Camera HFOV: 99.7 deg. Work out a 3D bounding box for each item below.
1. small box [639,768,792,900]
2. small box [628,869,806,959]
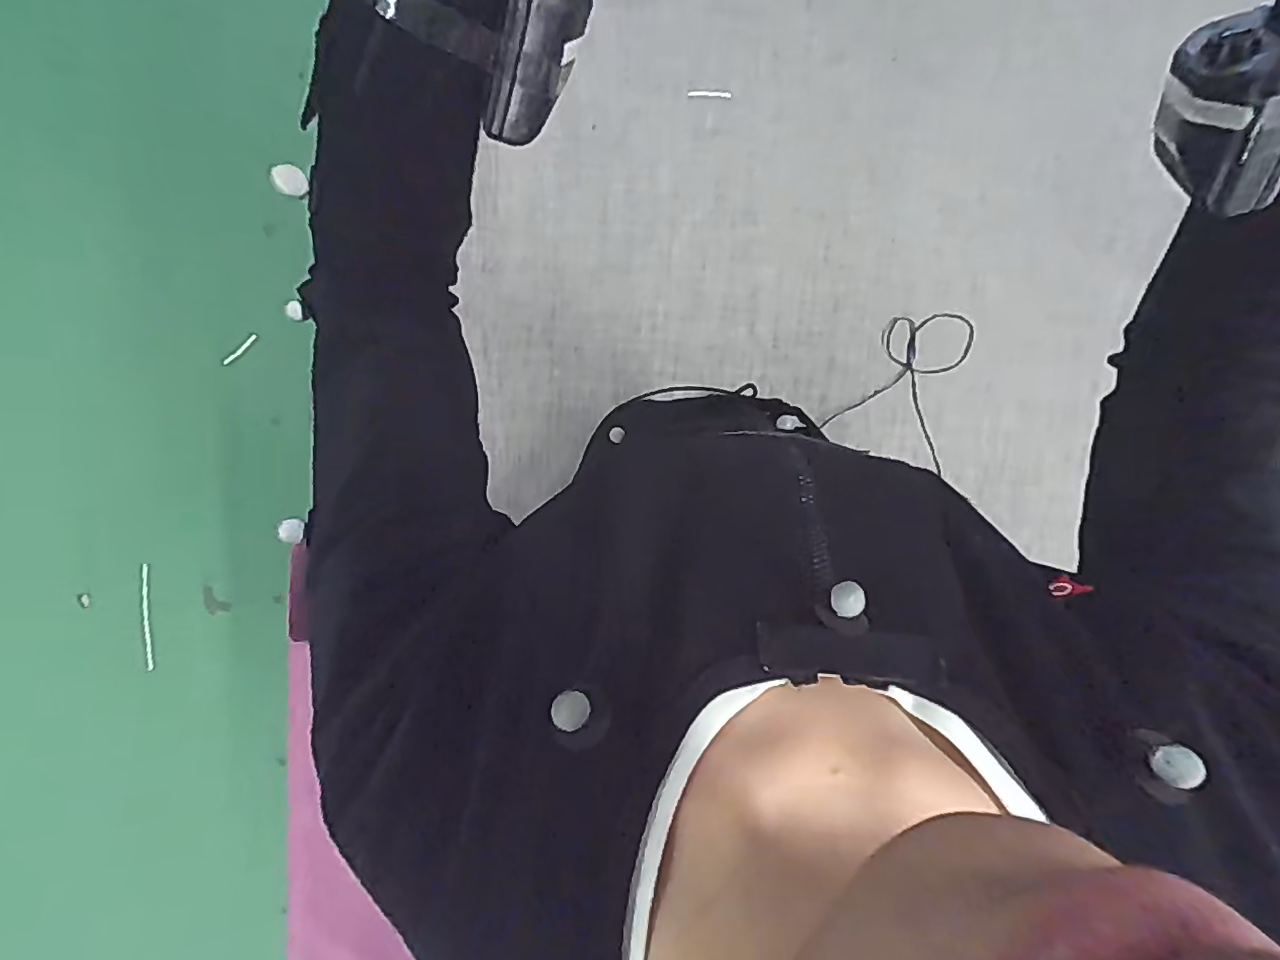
[{"bbox_3d":[0.088,0.526,0.721,0.168,0.176,0.179,8,97,0],"label":"small box"},{"bbox_3d":[0.078,0.547,0.561,0.179,0.176,0.168,6,97,0],"label":"small box"}]
